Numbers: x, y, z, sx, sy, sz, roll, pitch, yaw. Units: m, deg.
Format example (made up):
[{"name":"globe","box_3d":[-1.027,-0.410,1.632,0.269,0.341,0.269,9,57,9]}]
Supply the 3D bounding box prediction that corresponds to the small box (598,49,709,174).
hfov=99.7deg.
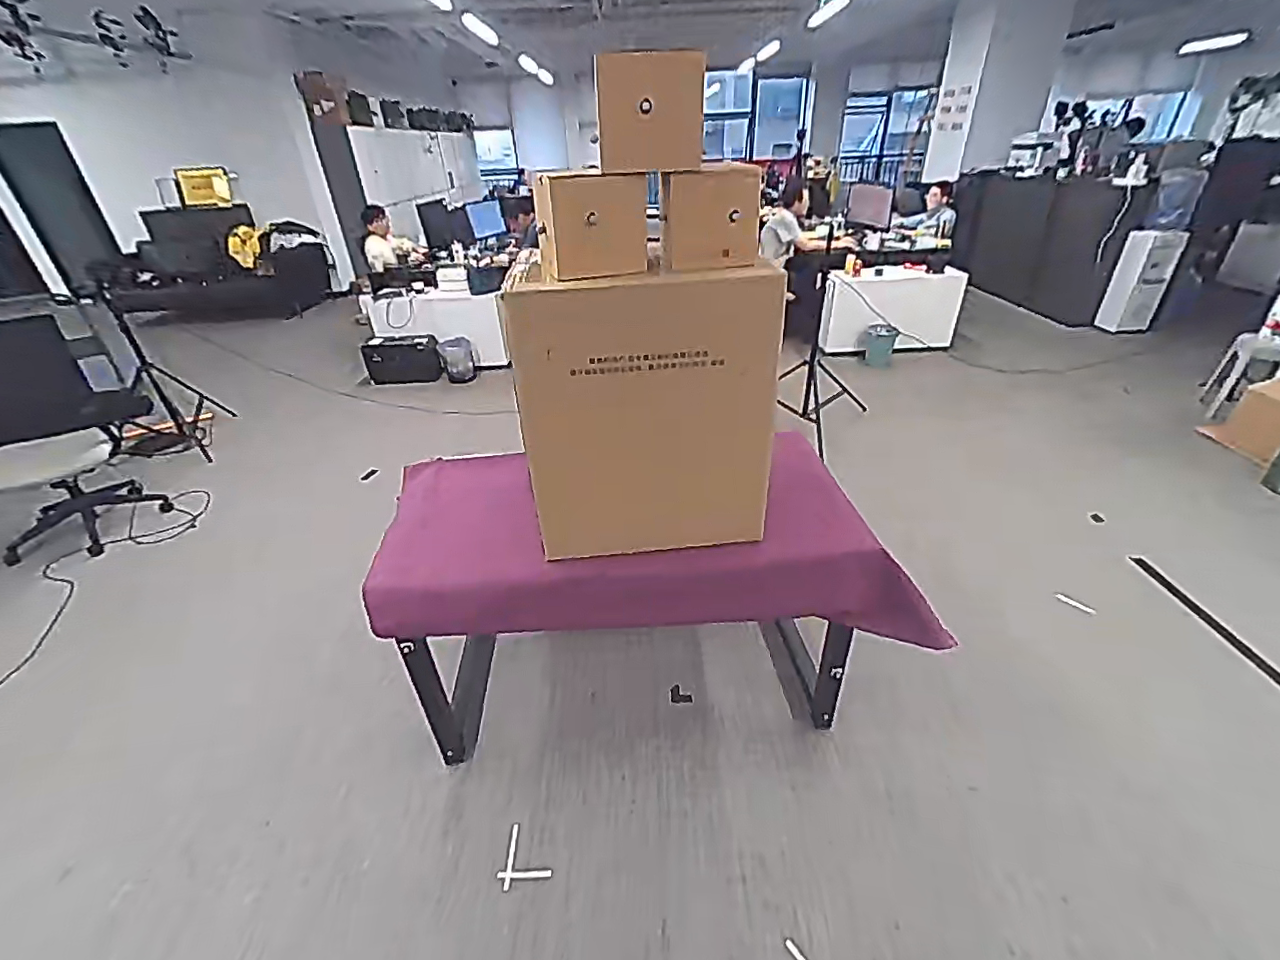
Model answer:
[{"name":"small box","box_3d":[0.020,-0.636,0.945,0.179,0.176,0.168,-3,32,-1]}]

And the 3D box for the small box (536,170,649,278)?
[{"name":"small box","box_3d":[-0.088,-0.487,1.026,0.179,0.176,0.168,-11,34,-16]}]

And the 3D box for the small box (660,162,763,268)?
[{"name":"small box","box_3d":[0.133,-0.512,1.049,0.168,0.176,0.179,-5,31,-4]}]
